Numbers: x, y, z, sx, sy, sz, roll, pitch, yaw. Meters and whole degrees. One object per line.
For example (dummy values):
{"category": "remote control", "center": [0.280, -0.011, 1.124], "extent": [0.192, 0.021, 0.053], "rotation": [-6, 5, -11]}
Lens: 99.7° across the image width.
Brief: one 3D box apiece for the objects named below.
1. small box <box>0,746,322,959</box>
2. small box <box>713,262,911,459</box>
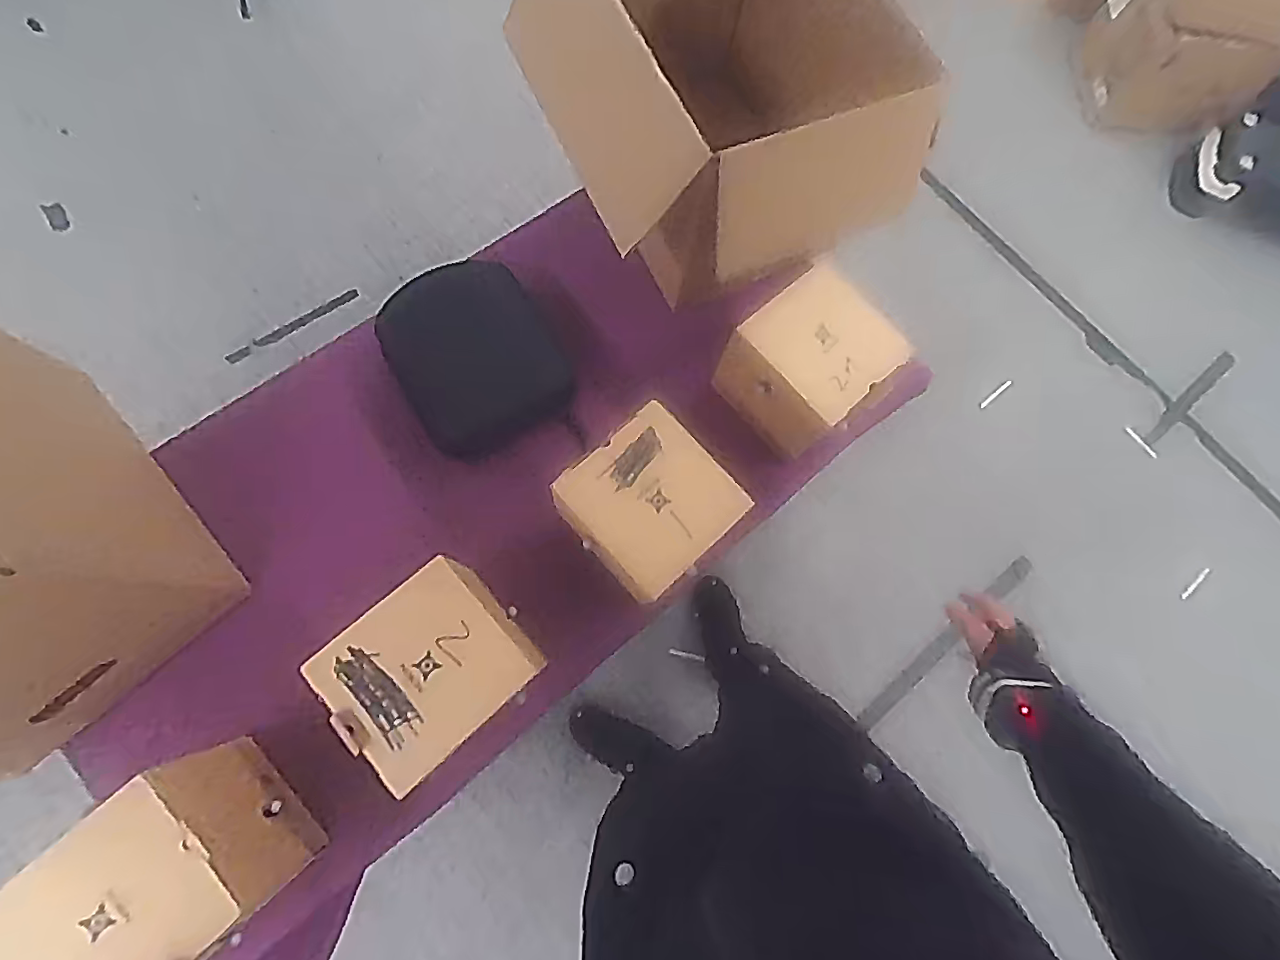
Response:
{"category": "small box", "center": [-0.479, 0.413, 0.556], "extent": [0.179, 0.176, 0.168], "rotation": [-42, 82, -15]}
{"category": "small box", "center": [0.225, -0.157, 0.762], "extent": [0.168, 0.176, 0.179], "rotation": [-40, 82, -12]}
